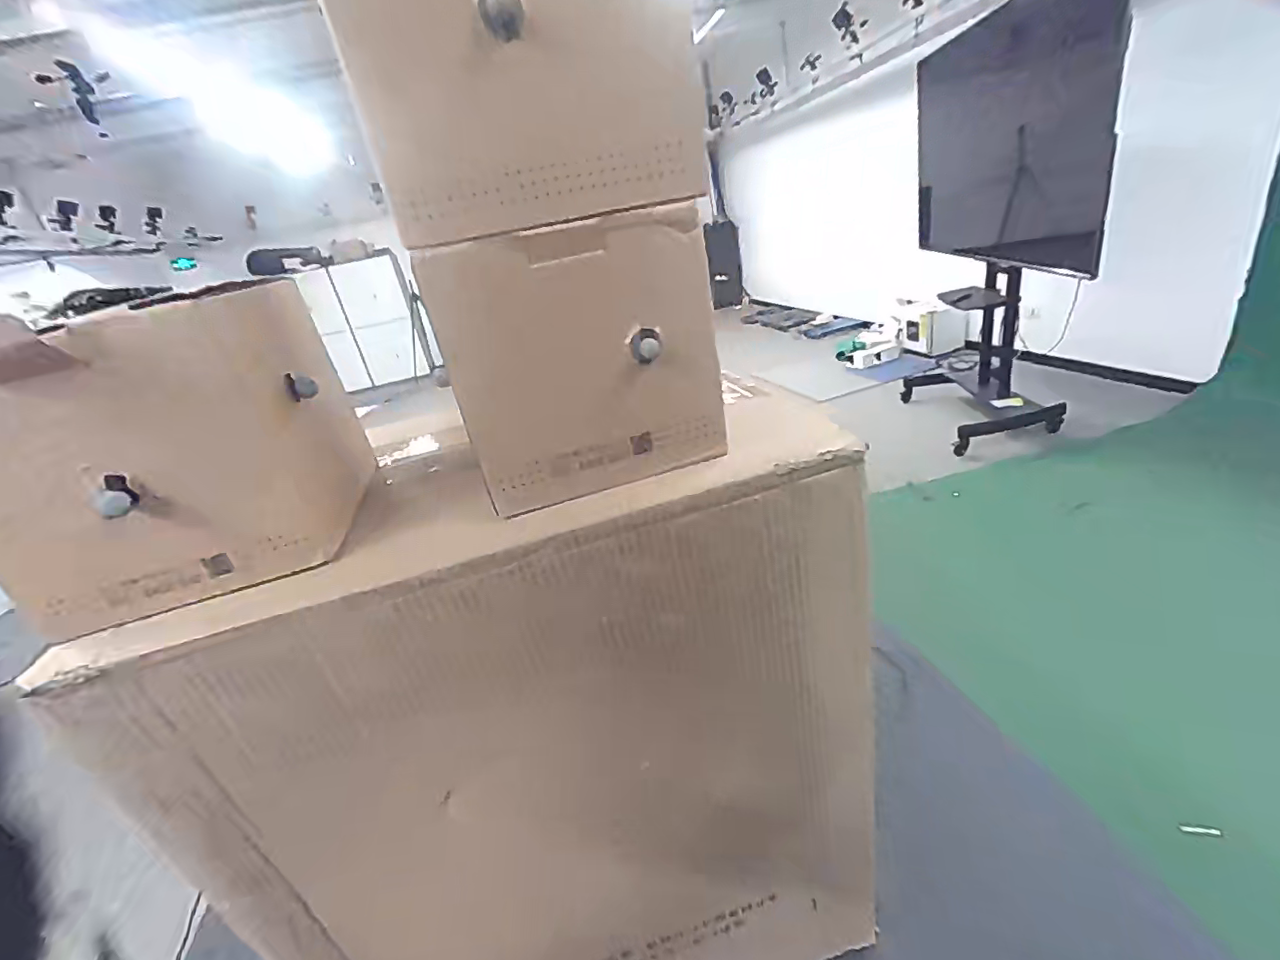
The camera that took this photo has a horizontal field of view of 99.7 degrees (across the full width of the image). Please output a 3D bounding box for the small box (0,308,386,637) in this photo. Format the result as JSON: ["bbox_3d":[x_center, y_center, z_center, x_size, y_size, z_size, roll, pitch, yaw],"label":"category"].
[{"bbox_3d":[-0.306,-0.011,0.393,0.168,0.176,0.179,-19,27,-10],"label":"small box"}]

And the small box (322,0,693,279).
[{"bbox_3d":[-0.069,-0.228,0.353,0.179,0.176,0.168,-13,26,-5],"label":"small box"}]

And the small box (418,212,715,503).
[{"bbox_3d":[-0.051,-0.095,0.416,0.168,0.176,0.179,-14,25,-9],"label":"small box"}]
